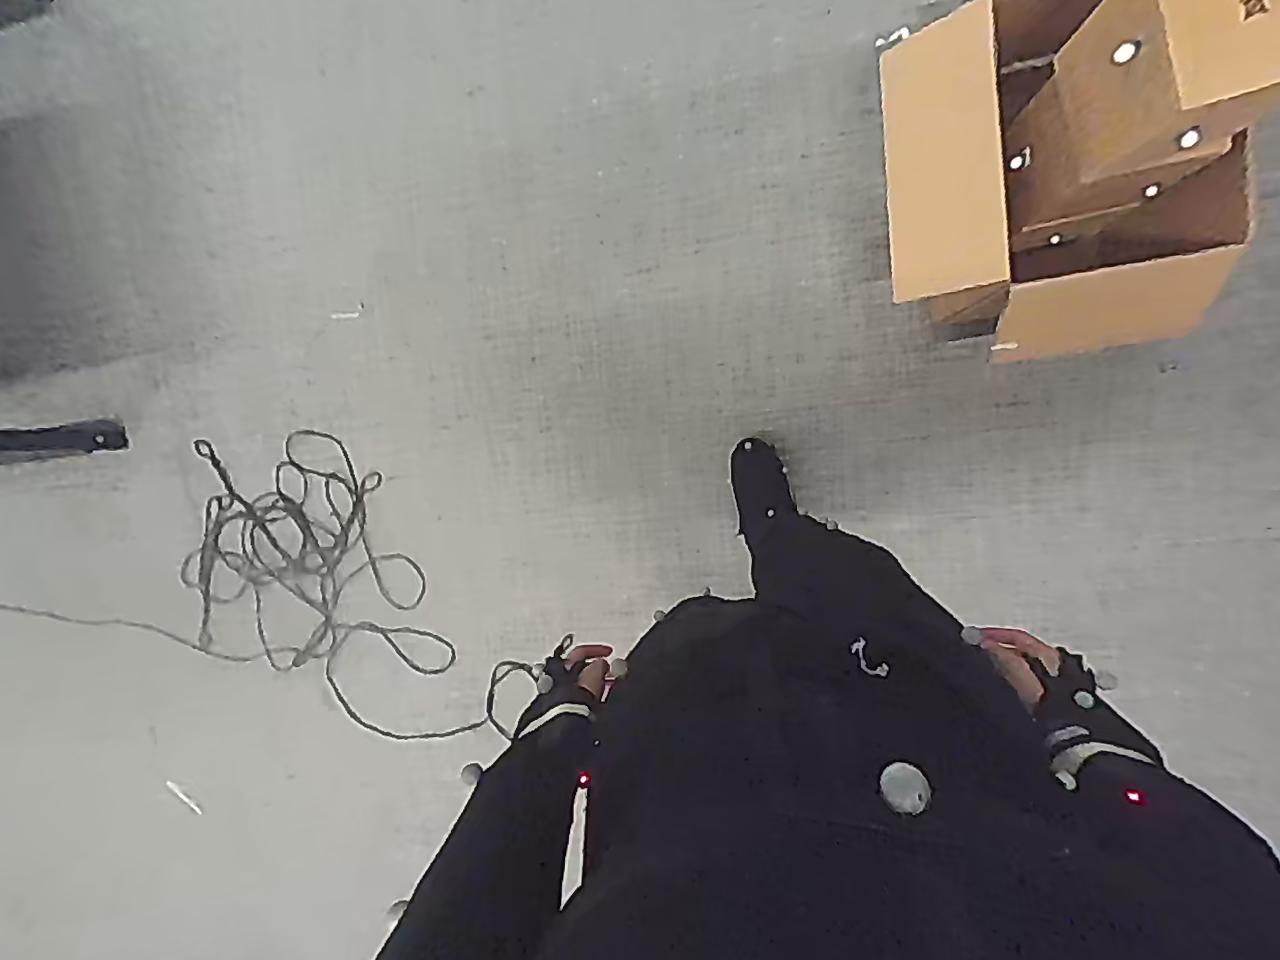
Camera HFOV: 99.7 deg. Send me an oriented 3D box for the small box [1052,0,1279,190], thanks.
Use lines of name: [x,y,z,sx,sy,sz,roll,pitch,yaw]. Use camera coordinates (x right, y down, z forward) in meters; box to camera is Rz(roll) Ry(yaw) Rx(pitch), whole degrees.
small box: [0.639,-0.477,0.644,0.168,0.176,0.179,-13,90,10]
